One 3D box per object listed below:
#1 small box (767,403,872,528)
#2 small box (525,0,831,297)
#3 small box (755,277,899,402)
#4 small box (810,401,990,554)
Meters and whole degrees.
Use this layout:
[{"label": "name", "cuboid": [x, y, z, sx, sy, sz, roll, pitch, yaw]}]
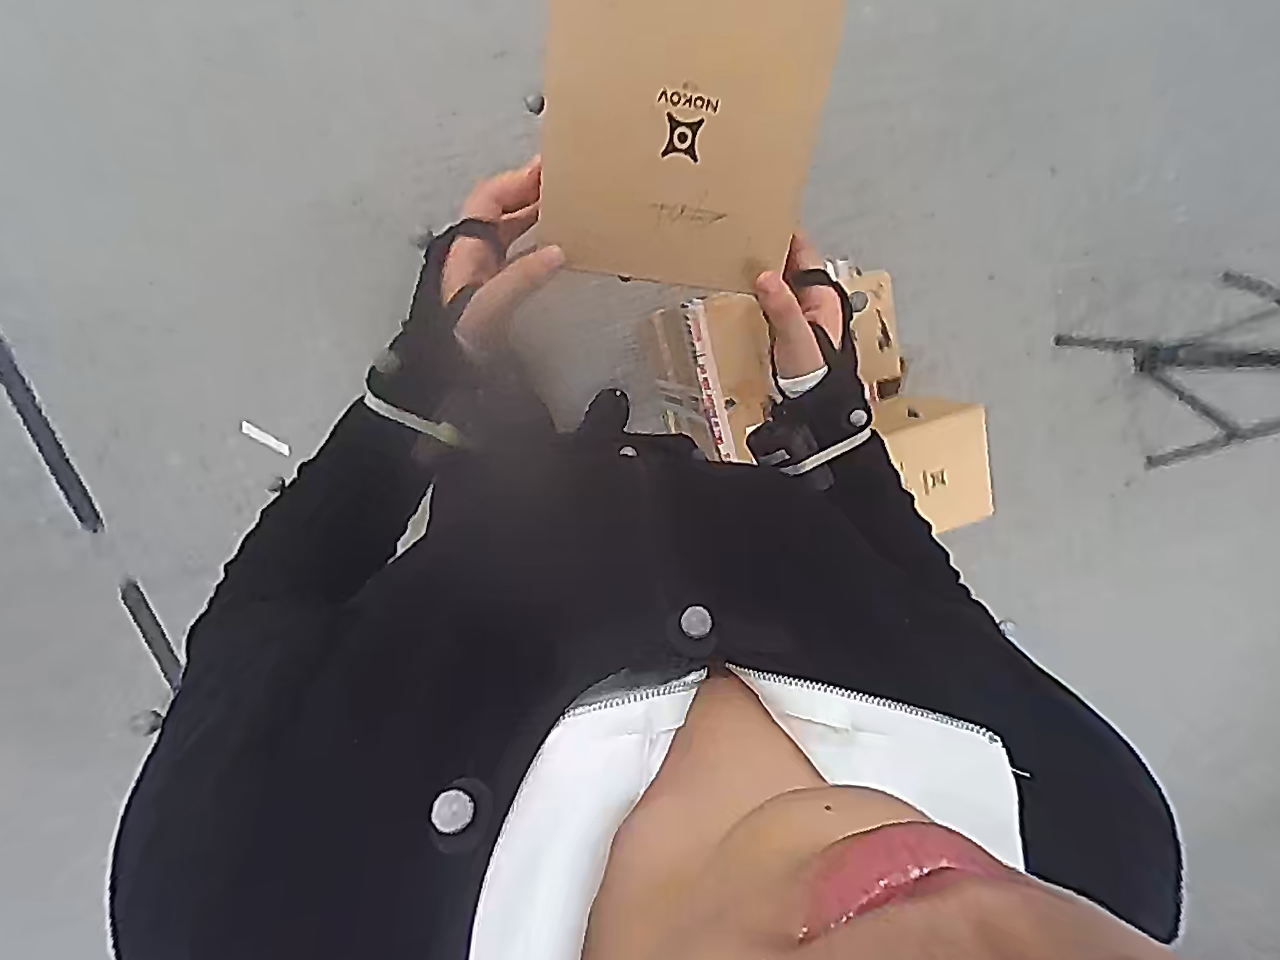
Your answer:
[{"label": "small box", "cuboid": [0.351, -0.035, 0.978, 0.179, 0.176, 0.168, -14, 106, -4]}, {"label": "small box", "cuboid": [0.008, -0.244, 0.392, 0.168, 0.176, 0.179, 4, 117, -9]}, {"label": "small box", "cuboid": [0.308, -0.233, 0.925, 0.179, 0.176, 0.168, -14, 103, -4]}, {"label": "small box", "cuboid": [0.385, -0.014, 0.817, 0.179, 0.176, 0.168, -16, 106, -5]}]
